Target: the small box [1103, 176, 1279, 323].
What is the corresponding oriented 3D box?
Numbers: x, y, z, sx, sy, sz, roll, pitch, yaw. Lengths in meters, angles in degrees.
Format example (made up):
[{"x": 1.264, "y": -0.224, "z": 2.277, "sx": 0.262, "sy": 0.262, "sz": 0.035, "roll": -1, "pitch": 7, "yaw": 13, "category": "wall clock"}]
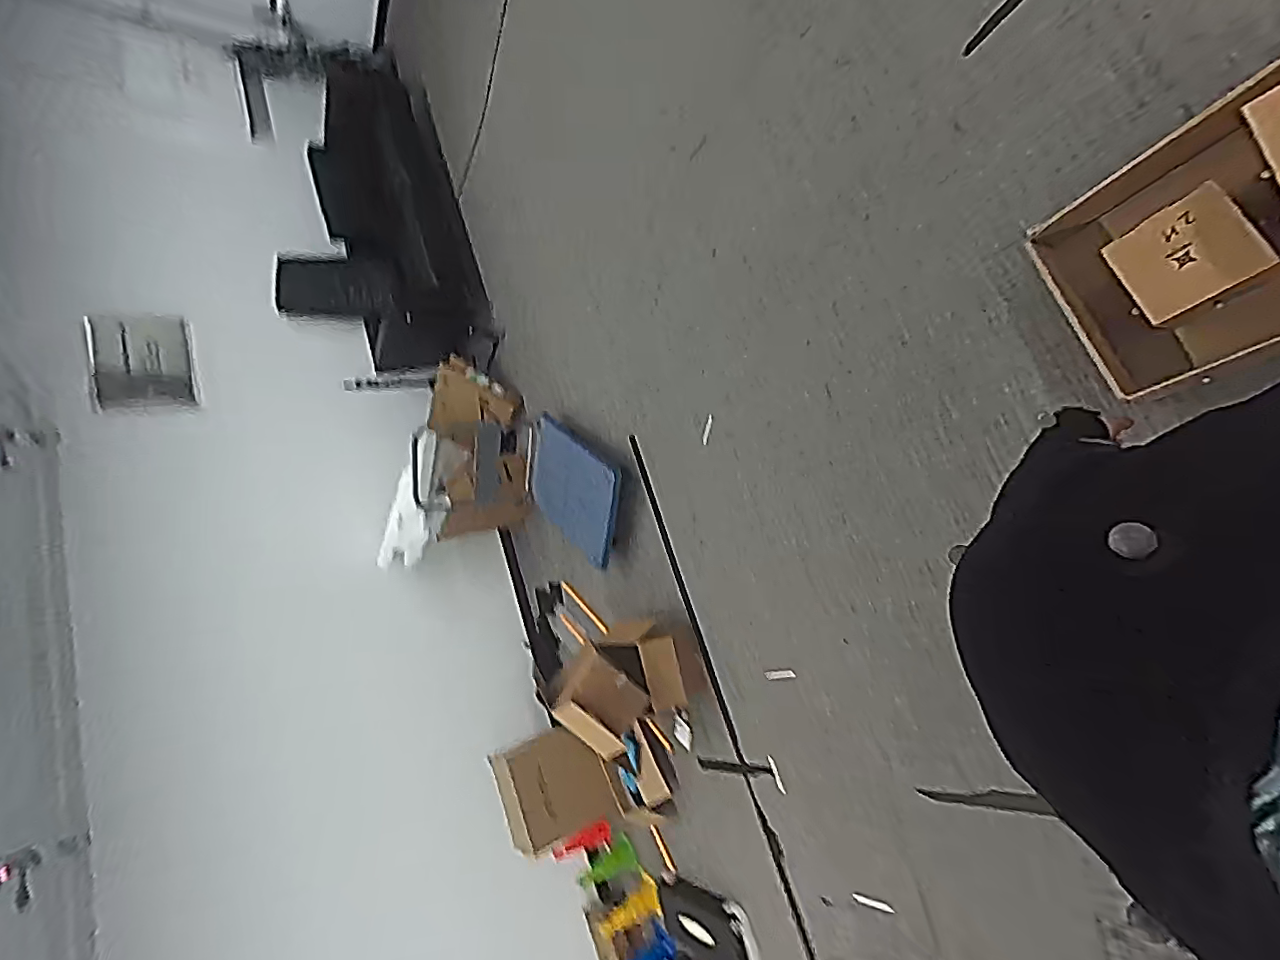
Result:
[{"x": 0.991, "y": -0.400, "z": 0.966, "sx": 0.168, "sy": 0.176, "sz": 0.179, "roll": -39, "pitch": 67, "yaw": 49, "category": "small box"}]
